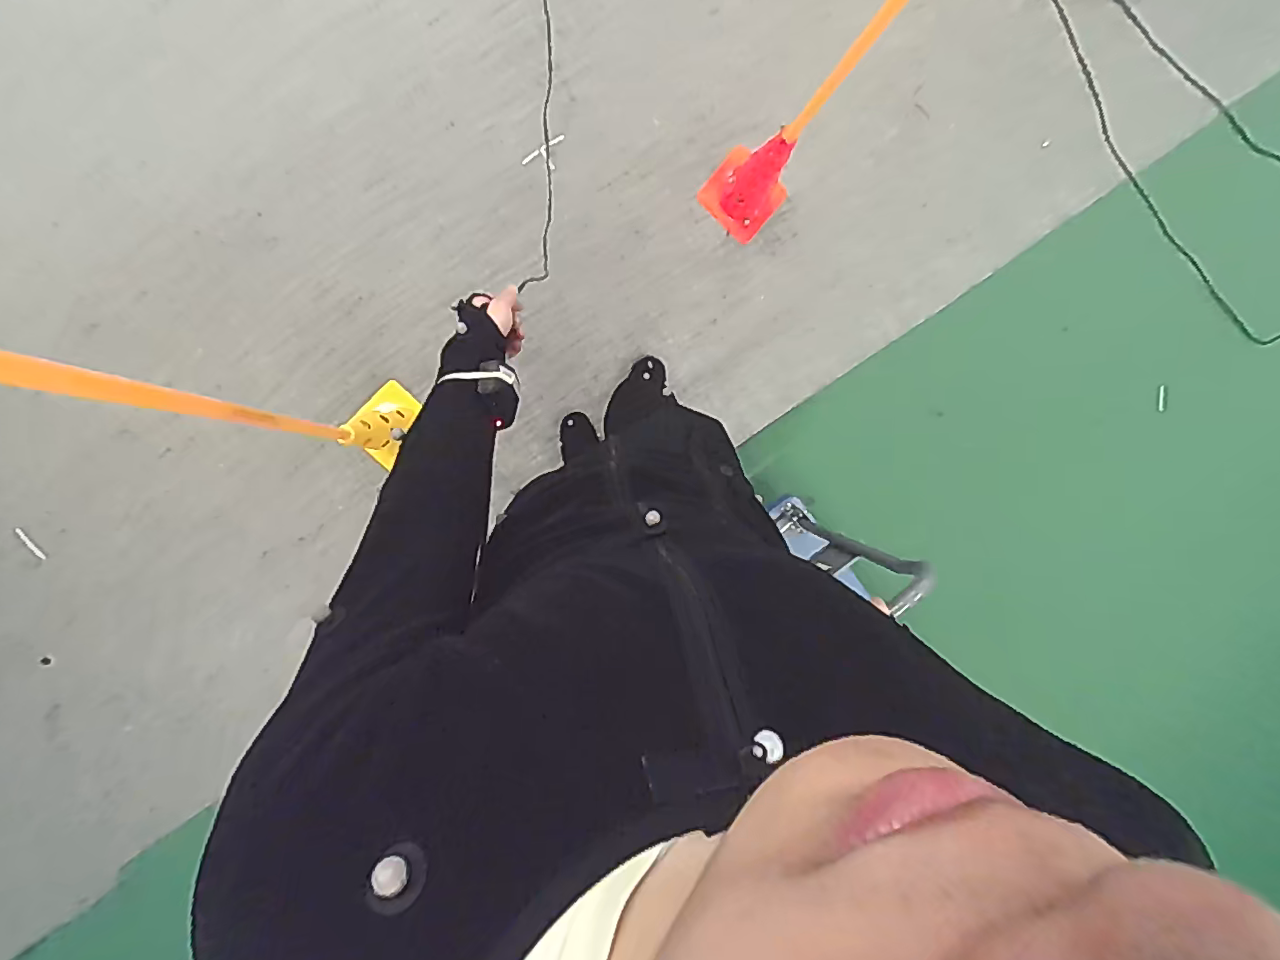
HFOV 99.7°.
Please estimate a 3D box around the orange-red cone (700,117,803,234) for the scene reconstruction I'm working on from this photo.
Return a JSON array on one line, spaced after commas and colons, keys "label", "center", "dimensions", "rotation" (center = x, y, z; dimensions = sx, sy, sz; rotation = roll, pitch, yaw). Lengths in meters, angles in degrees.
[{"label": "orange-red cone", "center": [0.316, -0.802, 1.356], "dimensions": [0.198, 0.360, 0.199], "rotation": [41, 90, -12]}]
